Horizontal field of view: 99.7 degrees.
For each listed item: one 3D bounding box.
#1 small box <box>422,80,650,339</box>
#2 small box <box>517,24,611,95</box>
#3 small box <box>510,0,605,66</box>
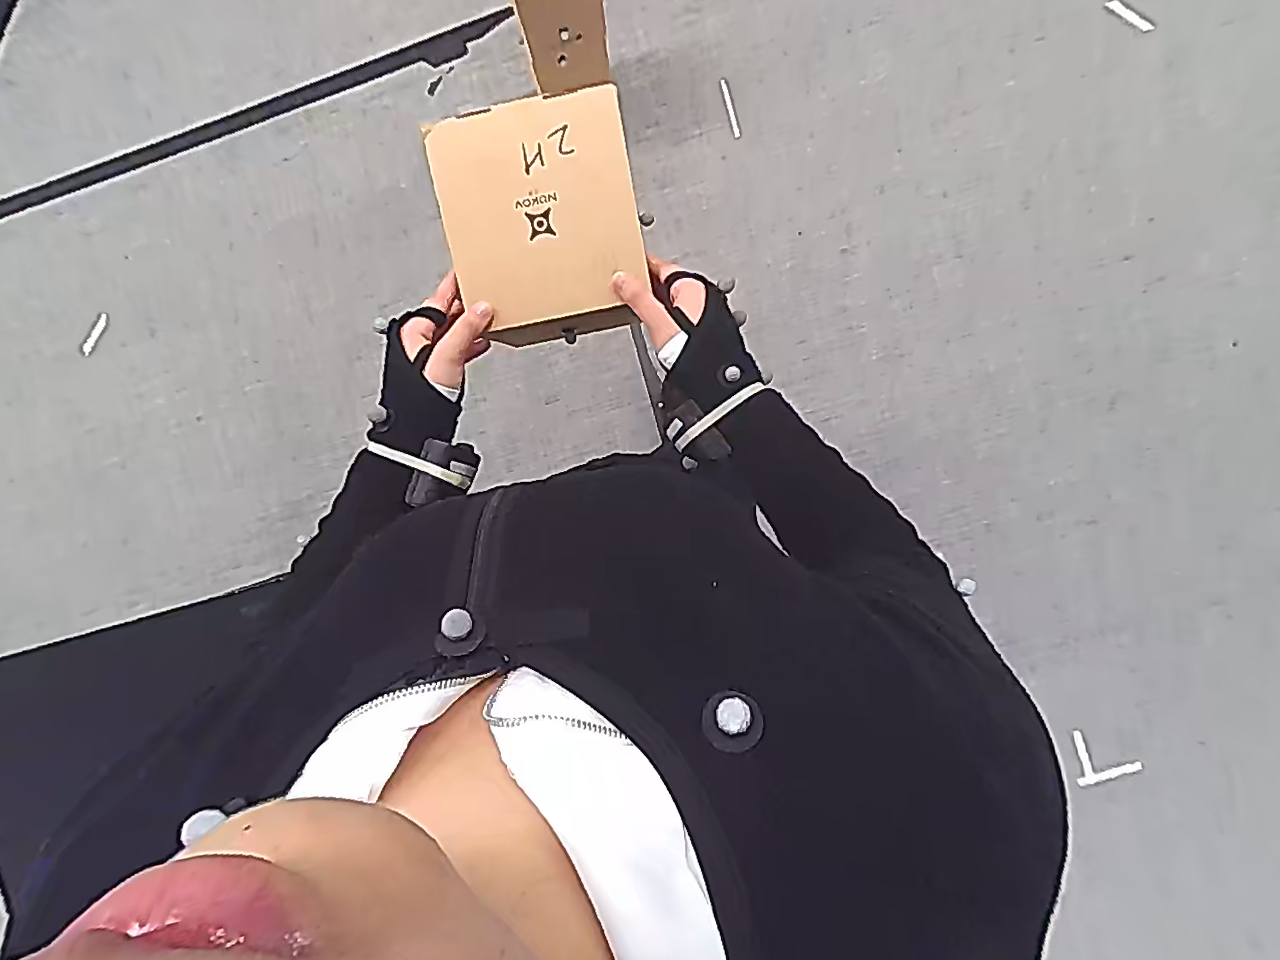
[{"bbox_3d":[-0.084,-0.242,0.537,0.168,0.176,0.179,-11,99,3],"label":"small box"},{"bbox_3d":[-0.172,-0.966,1.204,0.168,0.176,0.179,-18,91,3],"label":"small box"},{"bbox_3d":[-0.175,-0.960,1.039,0.168,0.176,0.179,-18,92,3],"label":"small box"}]
